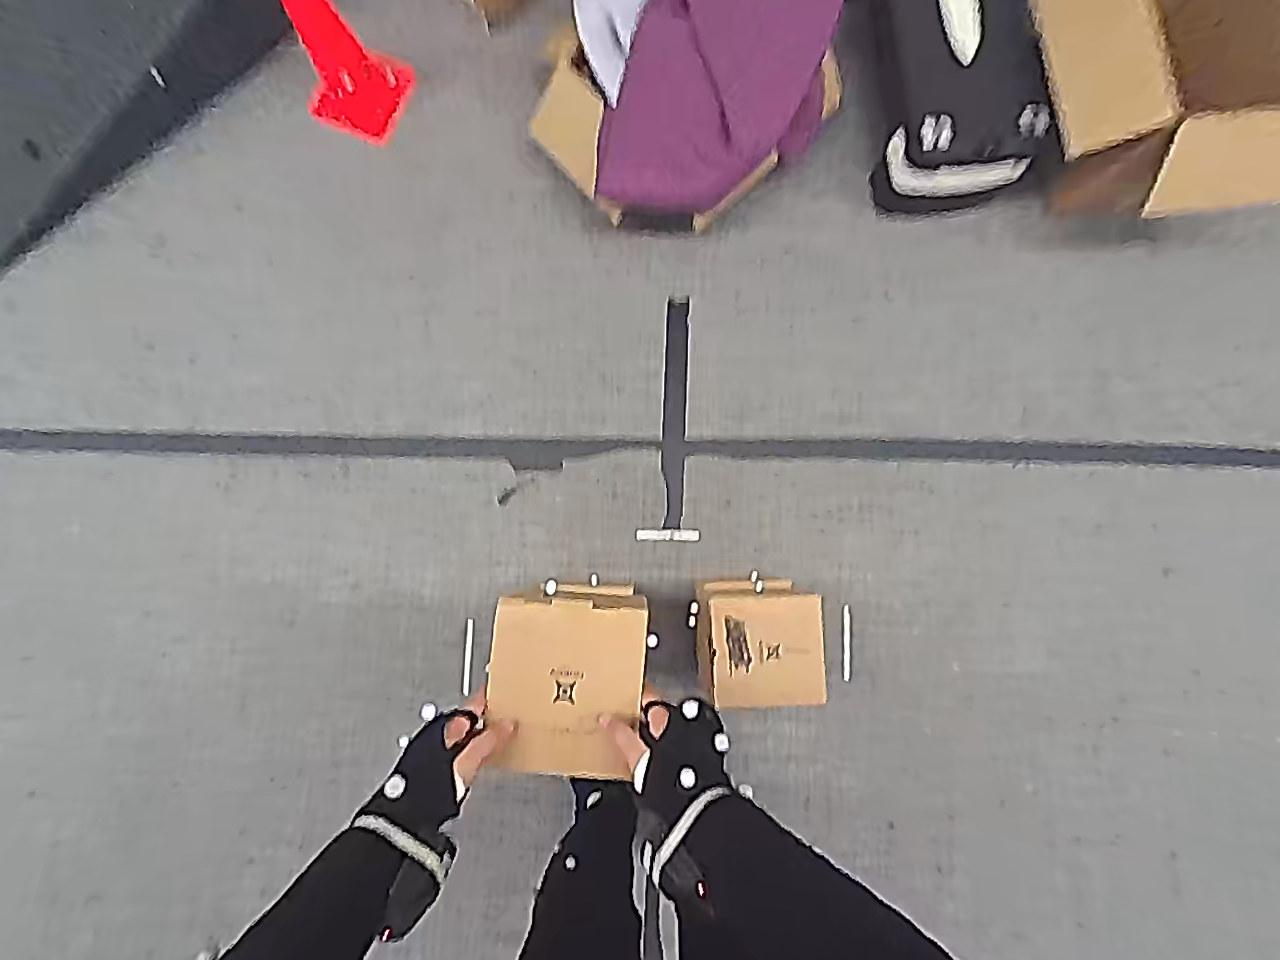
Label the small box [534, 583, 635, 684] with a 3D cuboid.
[{"bbox_3d":[-0.102,0.293,1.062,0.179,0.176,0.168,2,83,0],"label":"small box"}]

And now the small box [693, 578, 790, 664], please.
[{"bbox_3d":[0.196,0.290,1.069,0.168,0.176,0.179,-1,84,-1],"label":"small box"}]

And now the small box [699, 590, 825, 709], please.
[{"bbox_3d":[0.192,0.274,0.903,0.179,0.176,0.168,-1,83,-2],"label":"small box"}]
